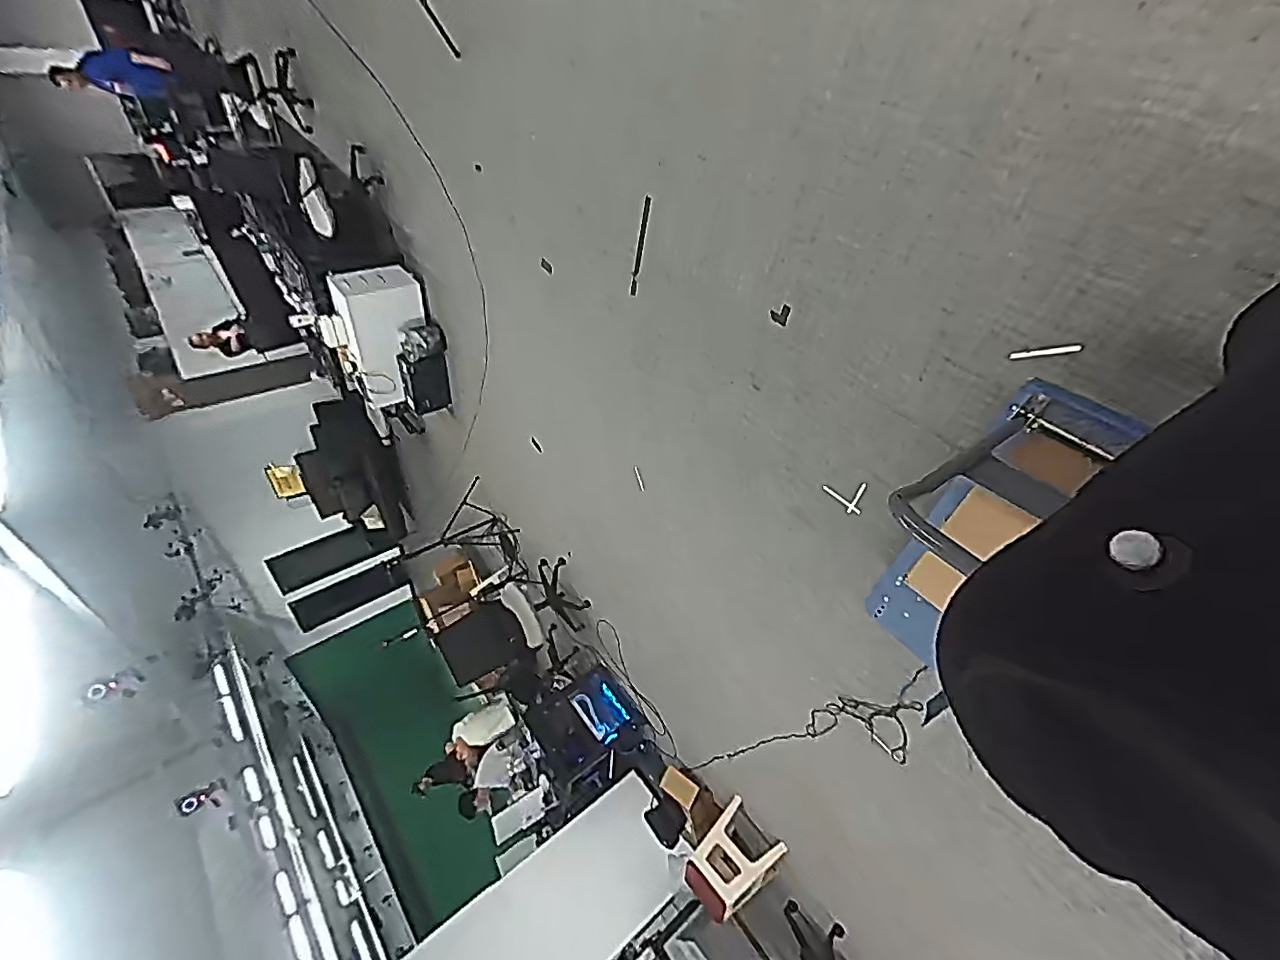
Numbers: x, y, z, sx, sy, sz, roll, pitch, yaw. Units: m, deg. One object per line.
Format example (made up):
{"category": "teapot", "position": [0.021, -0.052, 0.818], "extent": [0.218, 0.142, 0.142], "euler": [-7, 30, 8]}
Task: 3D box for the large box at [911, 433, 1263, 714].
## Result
{"category": "large box", "position": [0.870, 0.169, 1.098], "extent": [0.408, 0.320, 0.320], "euler": [44, 142, 32]}
